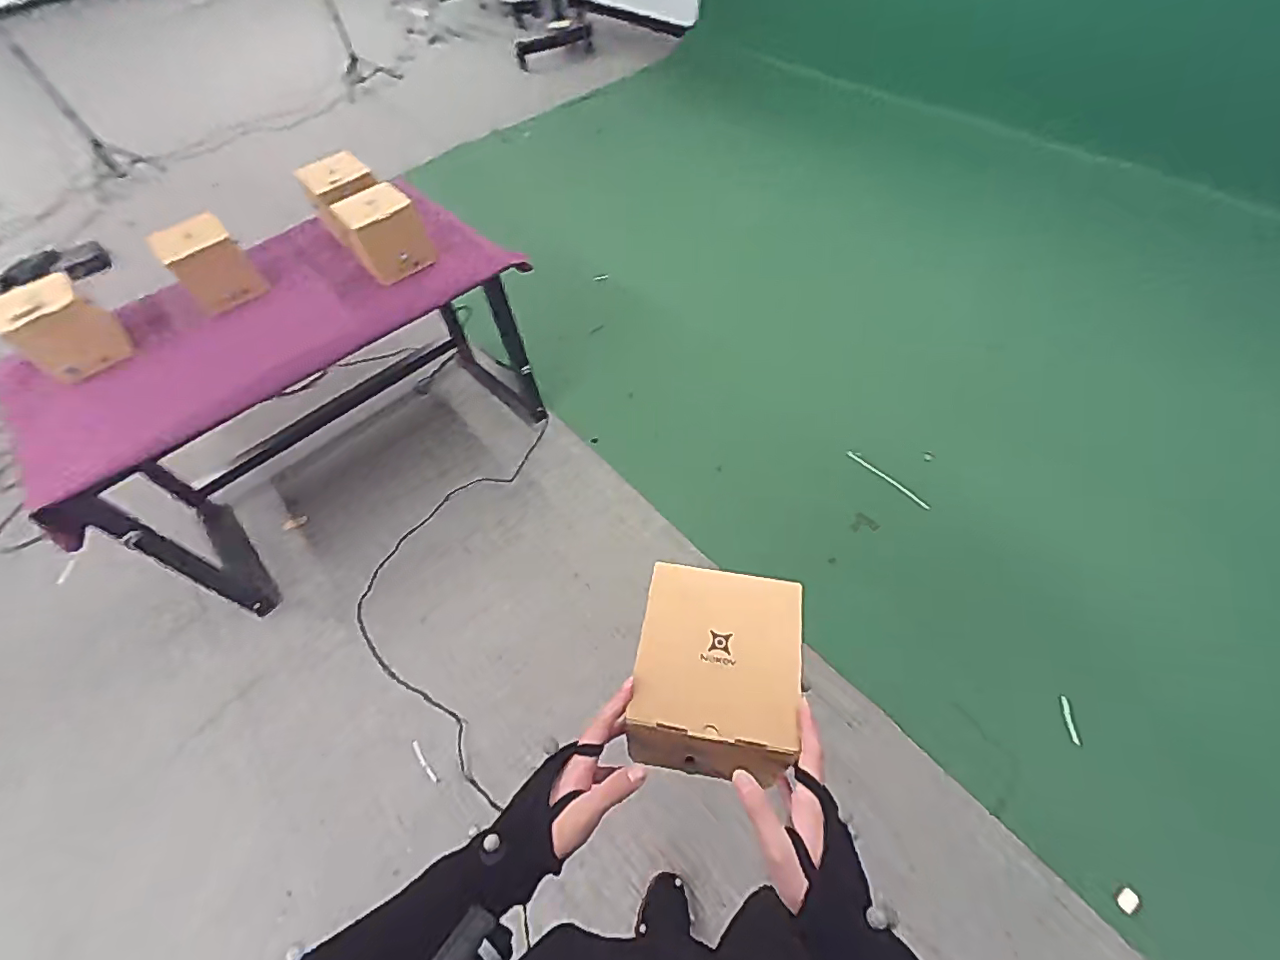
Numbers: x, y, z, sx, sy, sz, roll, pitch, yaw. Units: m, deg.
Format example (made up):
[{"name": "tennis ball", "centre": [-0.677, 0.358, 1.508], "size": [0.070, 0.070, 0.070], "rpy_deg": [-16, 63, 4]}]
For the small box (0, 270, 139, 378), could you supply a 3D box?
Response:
[{"name": "small box", "centre": [-1.412, -0.382, 1.349], "size": [0.168, 0.176, 0.179], "rpy_deg": [-38, 60, -20]}]

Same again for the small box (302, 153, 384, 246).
[{"name": "small box", "centre": [-0.847, -0.826, 1.600], "size": [0.168, 0.176, 0.179], "rpy_deg": [-38, 61, -18]}]

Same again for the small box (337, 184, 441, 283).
[{"name": "small box", "centre": [-0.679, -0.669, 1.474], "size": [0.168, 0.176, 0.179], "rpy_deg": [-37, 59, -17]}]

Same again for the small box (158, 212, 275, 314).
[{"name": "small box", "centre": [-1.141, -0.585, 1.466], "size": [0.168, 0.176, 0.179], "rpy_deg": [-37, 61, -18]}]
